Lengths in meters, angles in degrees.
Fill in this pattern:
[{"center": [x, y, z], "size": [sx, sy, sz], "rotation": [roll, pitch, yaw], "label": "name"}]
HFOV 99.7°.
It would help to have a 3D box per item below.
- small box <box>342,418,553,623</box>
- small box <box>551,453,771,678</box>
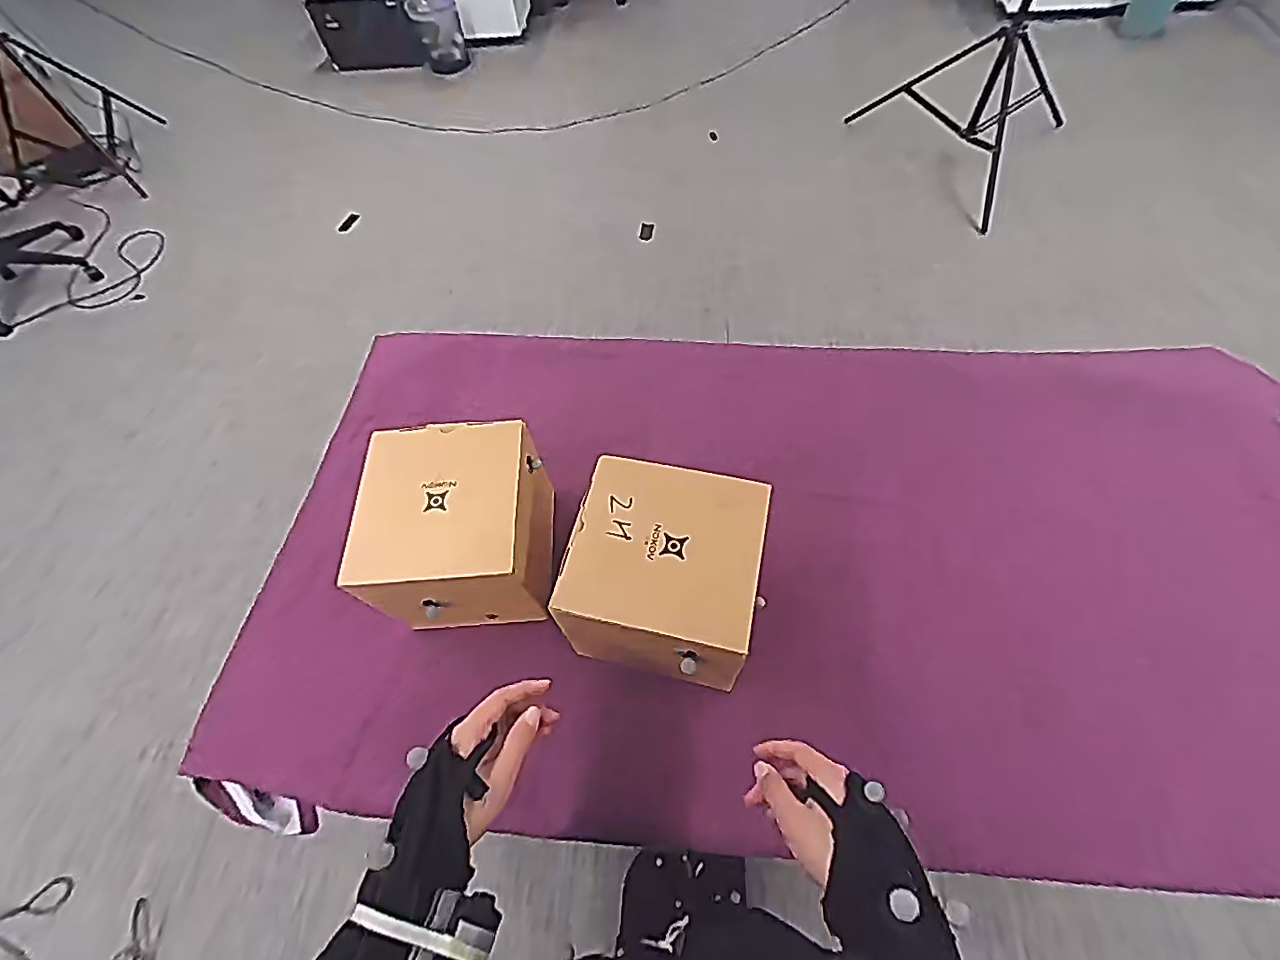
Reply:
[{"center": [-0.196, 0.055, 0.609], "size": [0.168, 0.176, 0.179], "rotation": [-5, 59, 1], "label": "small box"}, {"center": [0.029, 0.096, 0.566], "size": [0.179, 0.176, 0.168], "rotation": [10, 59, 10], "label": "small box"}]
